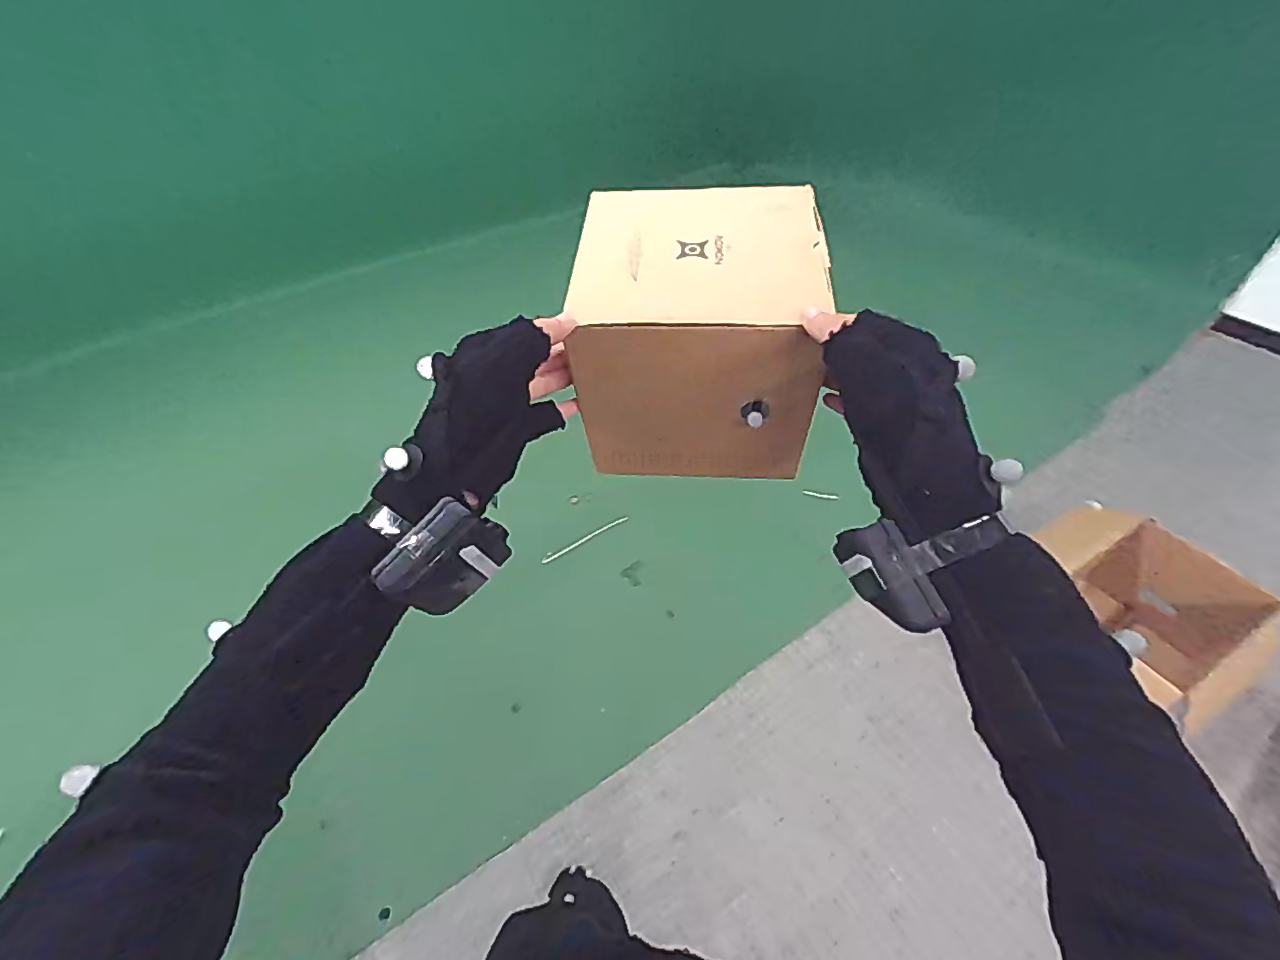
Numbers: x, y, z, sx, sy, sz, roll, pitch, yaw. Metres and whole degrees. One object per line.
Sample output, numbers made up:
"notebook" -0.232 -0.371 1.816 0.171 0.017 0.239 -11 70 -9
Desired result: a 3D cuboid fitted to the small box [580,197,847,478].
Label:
"small box" 0.058 -0.115 0.460 0.179 0.176 0.168 2 54 6
